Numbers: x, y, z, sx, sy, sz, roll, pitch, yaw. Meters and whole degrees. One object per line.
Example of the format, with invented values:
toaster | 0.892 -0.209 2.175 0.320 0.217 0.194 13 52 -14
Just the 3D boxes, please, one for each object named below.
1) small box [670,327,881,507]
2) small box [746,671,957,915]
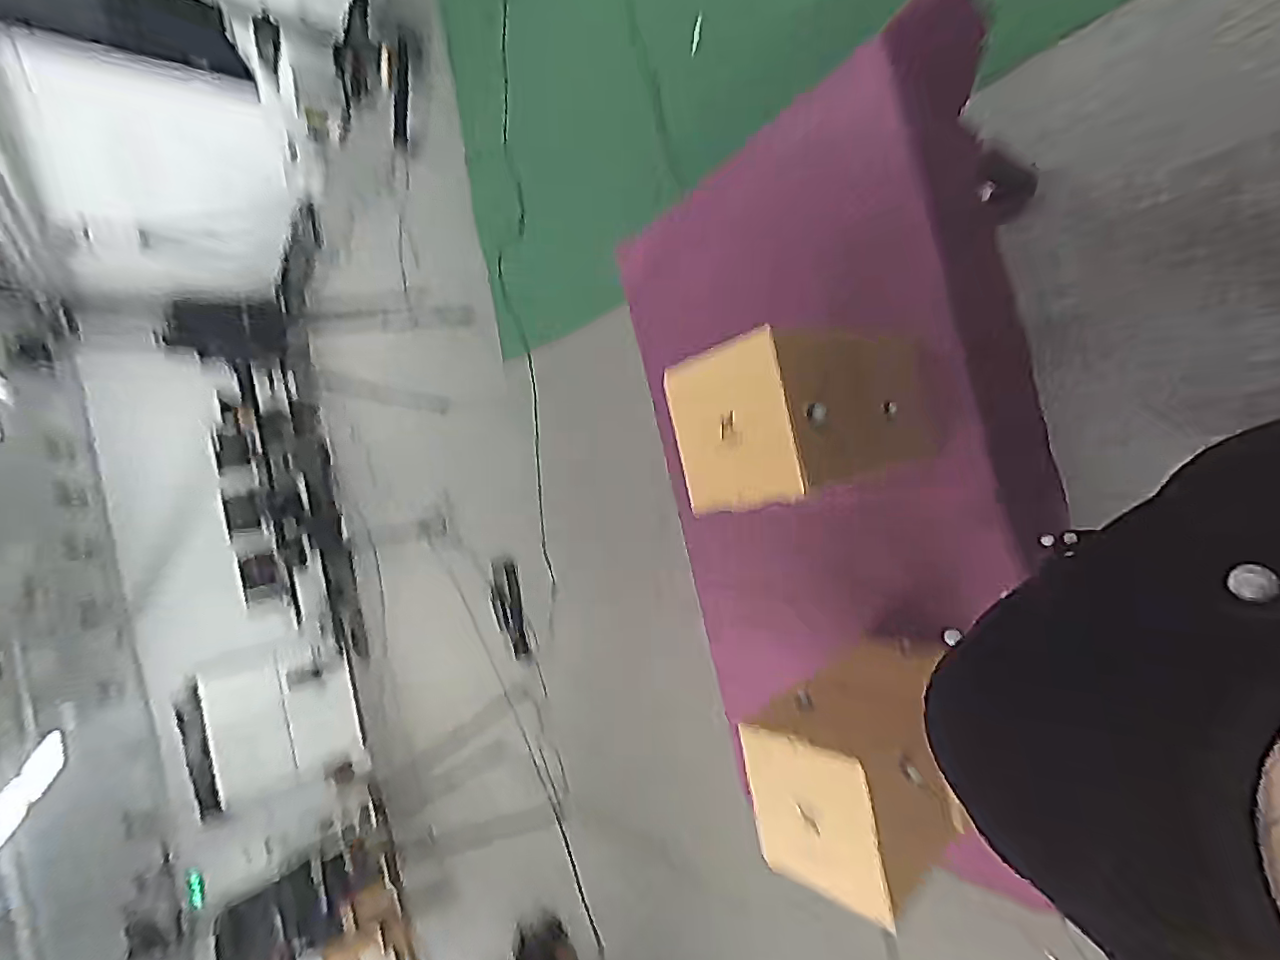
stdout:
small box | 0.167 -0.074 0.664 0.168 0.176 0.179 -14 89 51
small box | 0.259 0.355 0.661 0.168 0.176 0.179 -10 92 51
